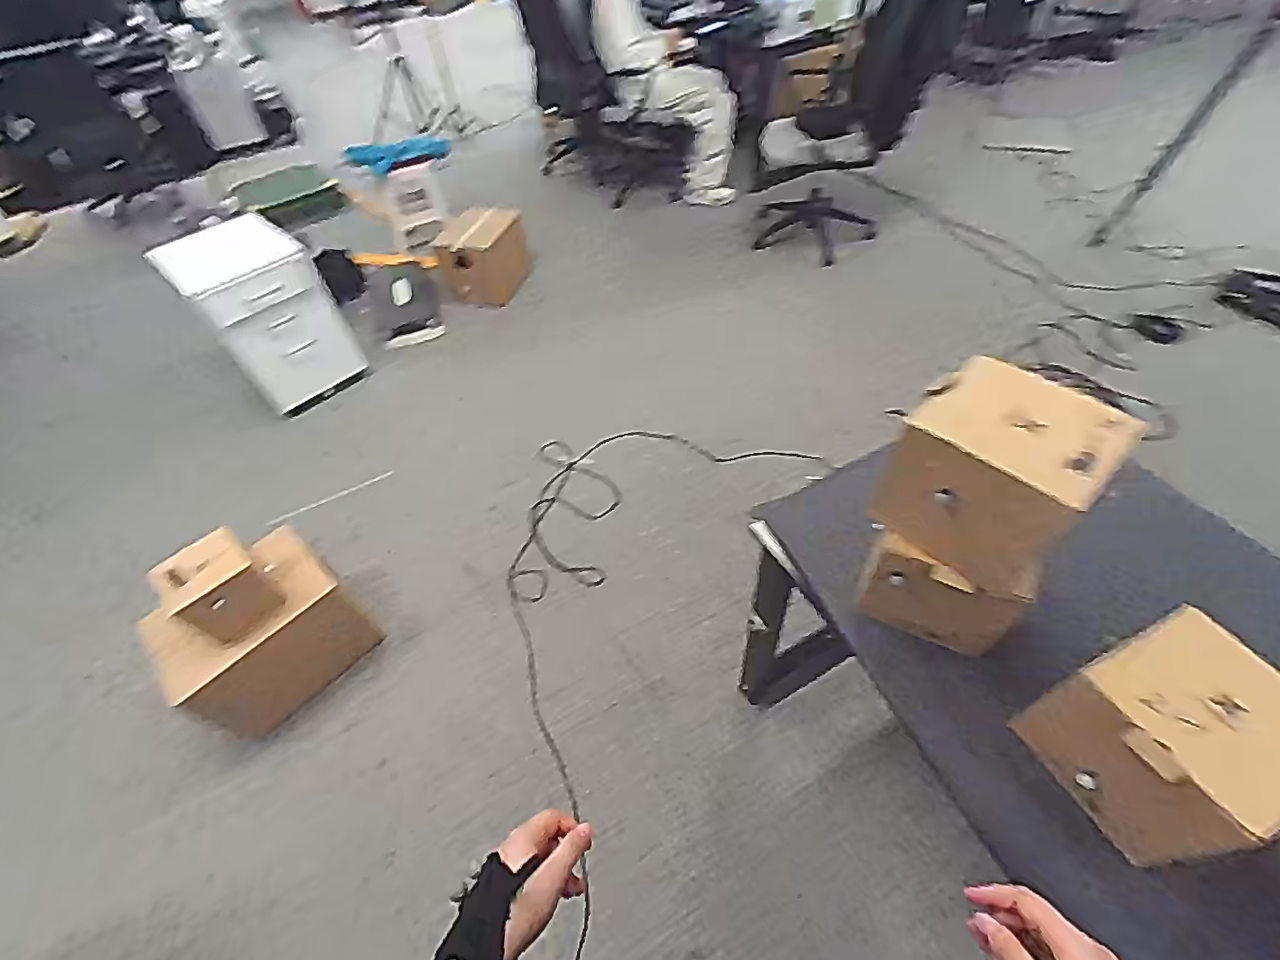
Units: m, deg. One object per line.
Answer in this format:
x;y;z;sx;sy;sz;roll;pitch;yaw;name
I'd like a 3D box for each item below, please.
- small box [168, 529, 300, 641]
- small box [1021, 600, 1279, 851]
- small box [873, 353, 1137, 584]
-0.993;0.263;1.332;0.168;0.176;0.179;35;61;29;small box
0.570;0.266;0.587;0.179;0.176;0.168;-21;50;-13;small box
0.403;-0.014;0.630;0.168;0.176;0.179;-36;54;-23;small box
